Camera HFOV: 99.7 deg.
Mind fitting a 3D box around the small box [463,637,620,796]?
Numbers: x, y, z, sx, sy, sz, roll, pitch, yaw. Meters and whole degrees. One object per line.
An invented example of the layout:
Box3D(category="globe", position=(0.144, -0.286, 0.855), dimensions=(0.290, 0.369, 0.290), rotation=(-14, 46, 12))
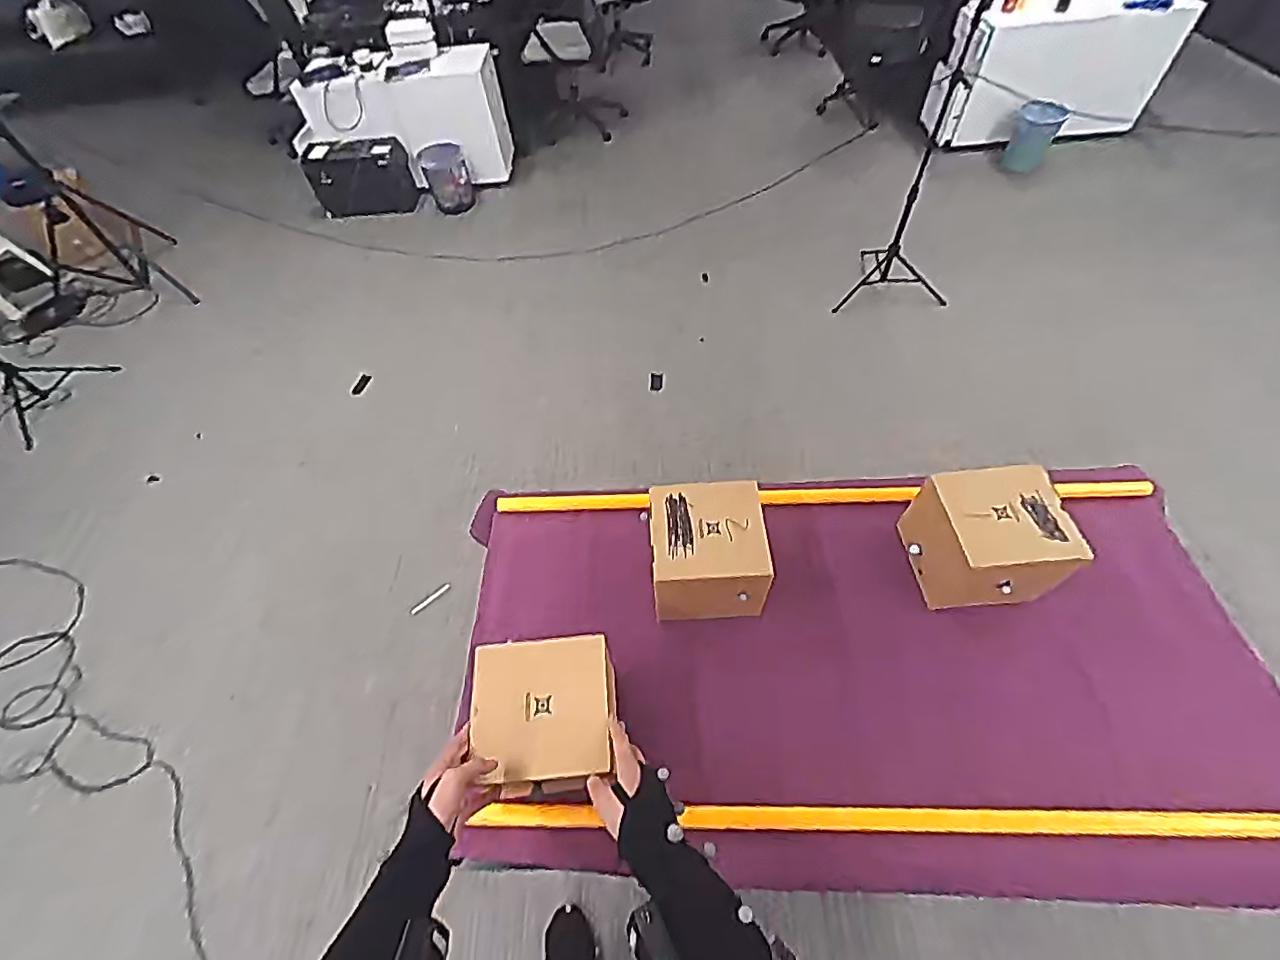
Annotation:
Box3D(category="small box", position=(-0.120, 0.325, 0.735), dimensions=(0.179, 0.176, 0.168), rotation=(-6, 56, 1))

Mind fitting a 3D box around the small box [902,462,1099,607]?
Box3D(category="small box", position=(0.551, 0.091, 0.859), dimensions=(0.179, 0.176, 0.168), rotation=(-6, 56, 2))
